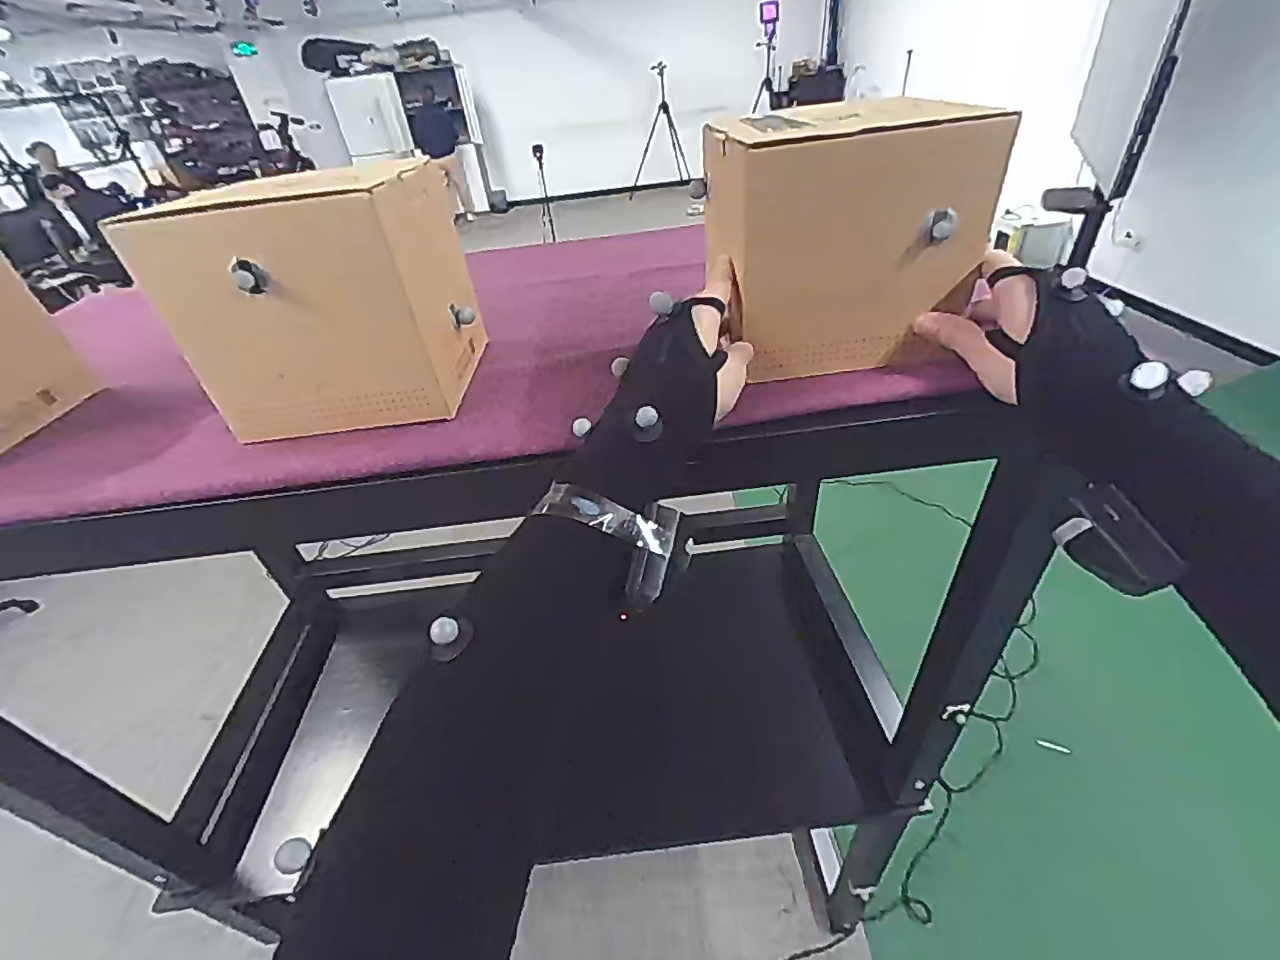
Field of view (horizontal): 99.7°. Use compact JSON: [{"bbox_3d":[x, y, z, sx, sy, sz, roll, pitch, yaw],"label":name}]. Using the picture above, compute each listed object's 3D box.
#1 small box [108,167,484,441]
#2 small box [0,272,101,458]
[{"bbox_3d":[-0.252,-0.146,0.454,0.179,0.176,0.168,-7,37,2],"label":"small box"},{"bbox_3d":[-0.640,-0.093,0.456,0.179,0.176,0.168,-9,37,0],"label":"small box"}]
